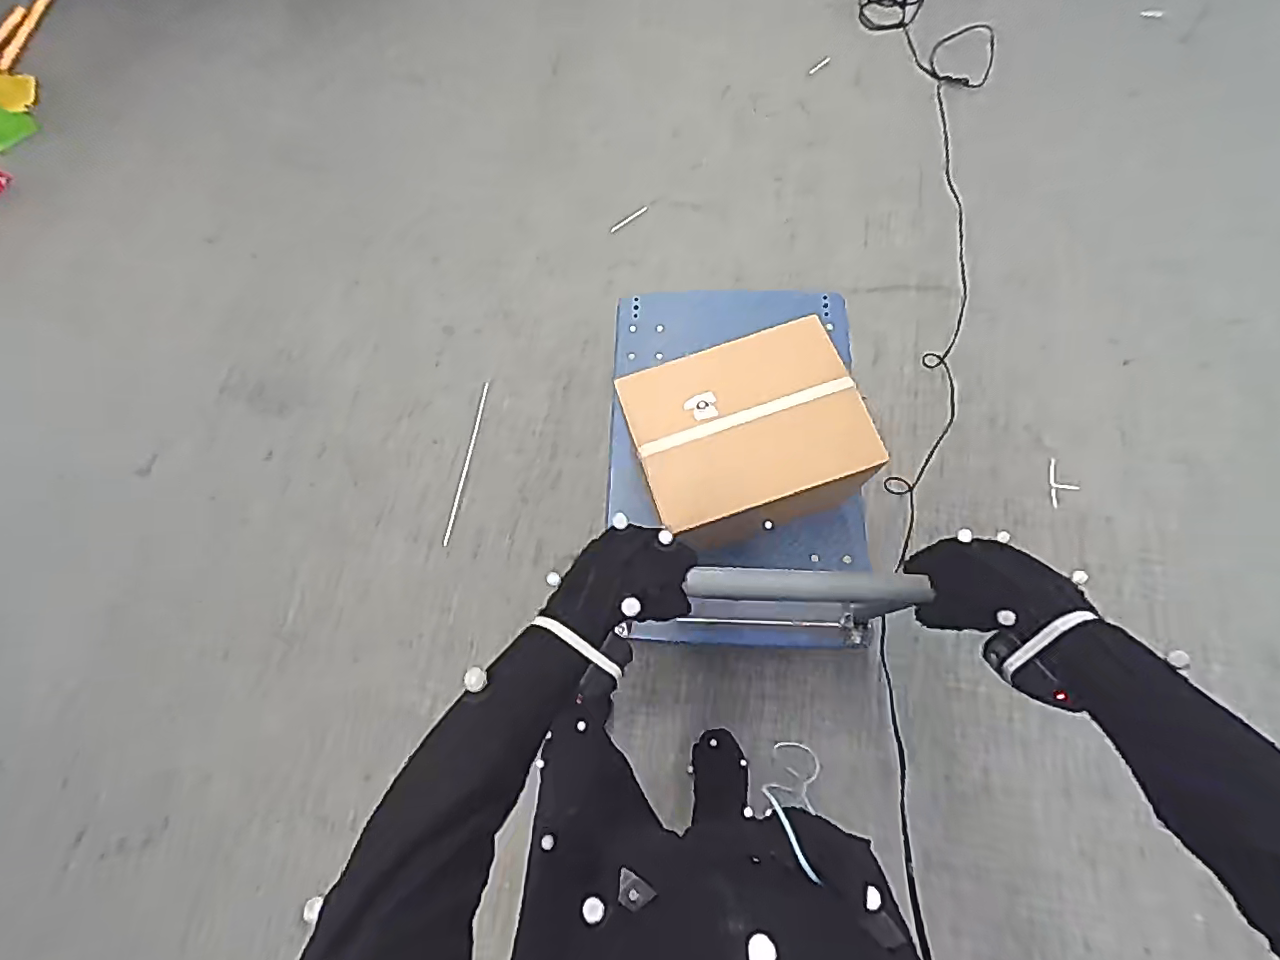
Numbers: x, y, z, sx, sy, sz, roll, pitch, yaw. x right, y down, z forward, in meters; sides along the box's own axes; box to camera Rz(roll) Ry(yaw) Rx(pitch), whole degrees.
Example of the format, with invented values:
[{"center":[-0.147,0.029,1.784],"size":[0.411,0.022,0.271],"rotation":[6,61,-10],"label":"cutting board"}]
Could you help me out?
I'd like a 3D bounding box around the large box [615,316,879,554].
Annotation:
[{"center":[0.199,-0.071,1.121],"size":[0.408,0.320,0.320],"rotation":[-19,72,0],"label":"large box"}]
